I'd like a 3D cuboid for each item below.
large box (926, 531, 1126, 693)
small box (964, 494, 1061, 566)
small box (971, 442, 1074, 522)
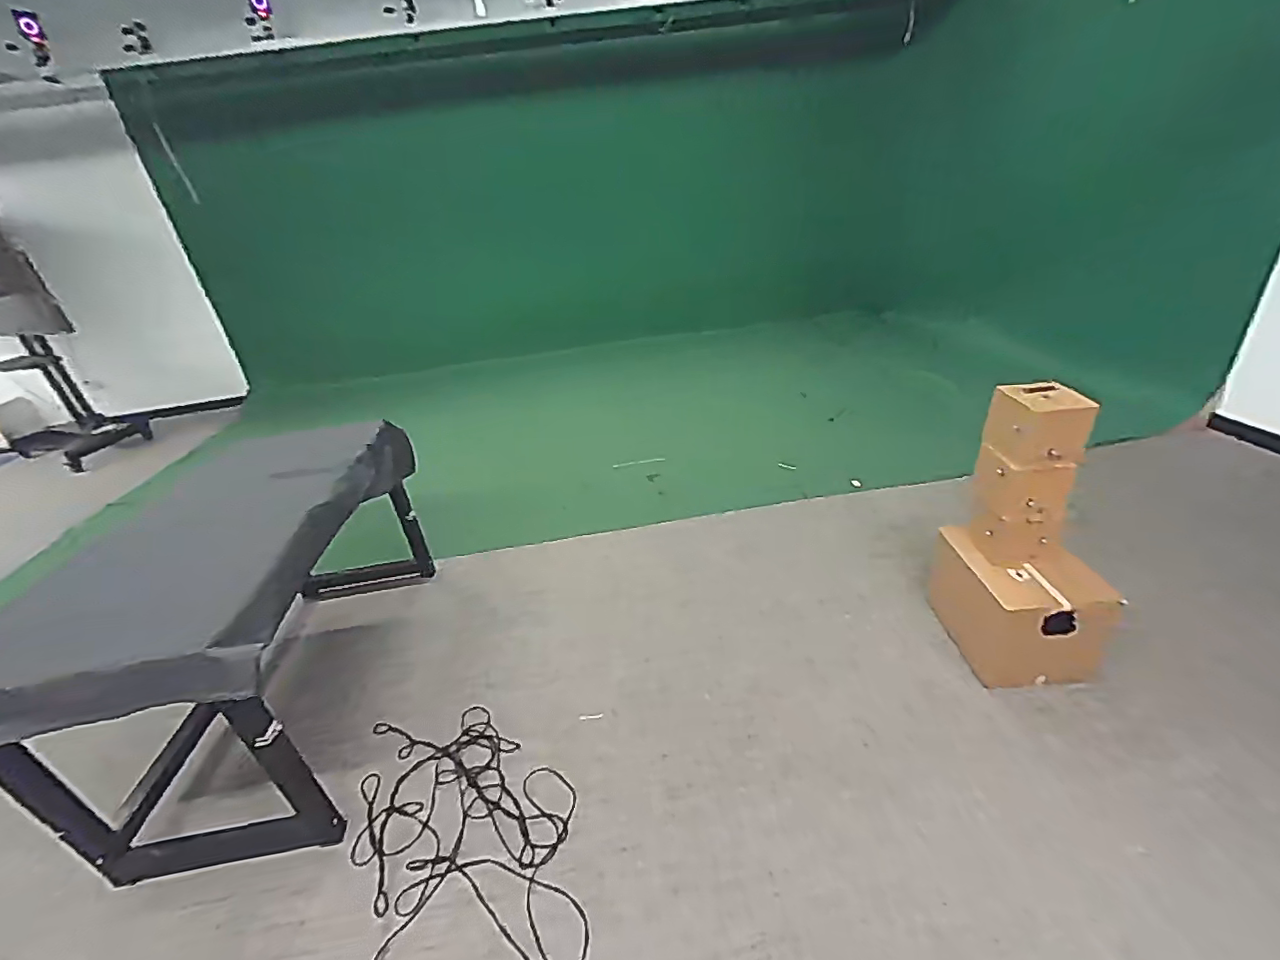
[{"bbox_3d":[1.158,0.391,1.688,0.320,0.320,0.408,-7,30,3],"label":"large box"},{"bbox_3d":[1.116,0.149,1.633,0.168,0.176,0.179,-5,28,3],"label":"small box"},{"bbox_3d":[1.091,0.005,1.561,0.168,0.176,0.179,-4,30,4],"label":"small box"}]
